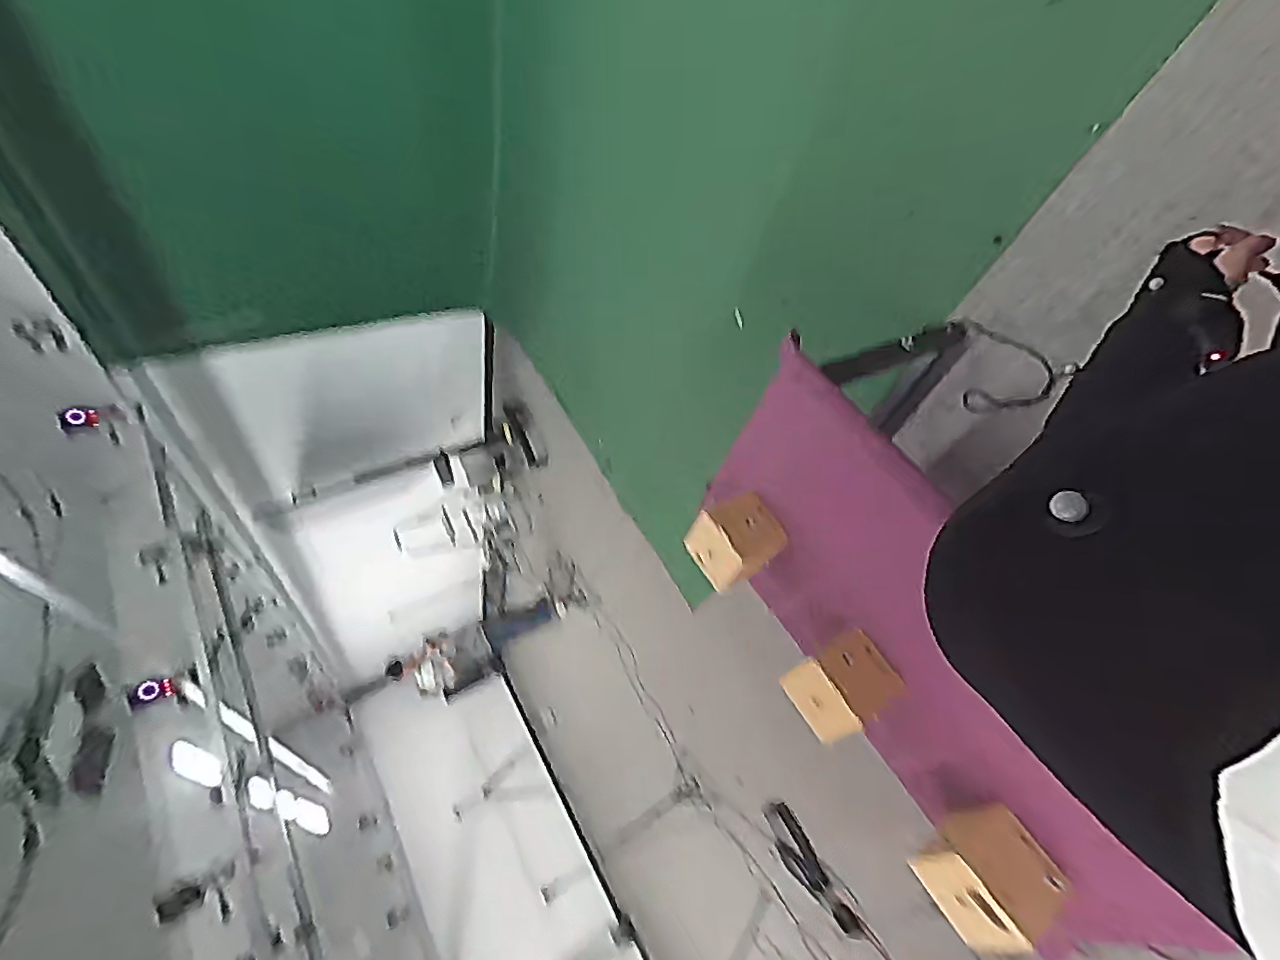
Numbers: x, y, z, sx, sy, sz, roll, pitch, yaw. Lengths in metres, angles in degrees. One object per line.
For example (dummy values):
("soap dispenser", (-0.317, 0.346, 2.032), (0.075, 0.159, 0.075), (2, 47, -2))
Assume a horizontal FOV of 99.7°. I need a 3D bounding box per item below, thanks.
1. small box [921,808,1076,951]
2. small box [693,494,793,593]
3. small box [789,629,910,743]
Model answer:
("small box", (0.714, 0.785, 1.075), (0.168, 0.176, 0.179), (54, 149, 27))
("small box", (0.276, 0.164, 1.429), (0.168, 0.176, 0.179), (55, 148, 24))
("small box", (0.492, 0.477, 1.263), (0.168, 0.176, 0.179), (55, 149, 26))
